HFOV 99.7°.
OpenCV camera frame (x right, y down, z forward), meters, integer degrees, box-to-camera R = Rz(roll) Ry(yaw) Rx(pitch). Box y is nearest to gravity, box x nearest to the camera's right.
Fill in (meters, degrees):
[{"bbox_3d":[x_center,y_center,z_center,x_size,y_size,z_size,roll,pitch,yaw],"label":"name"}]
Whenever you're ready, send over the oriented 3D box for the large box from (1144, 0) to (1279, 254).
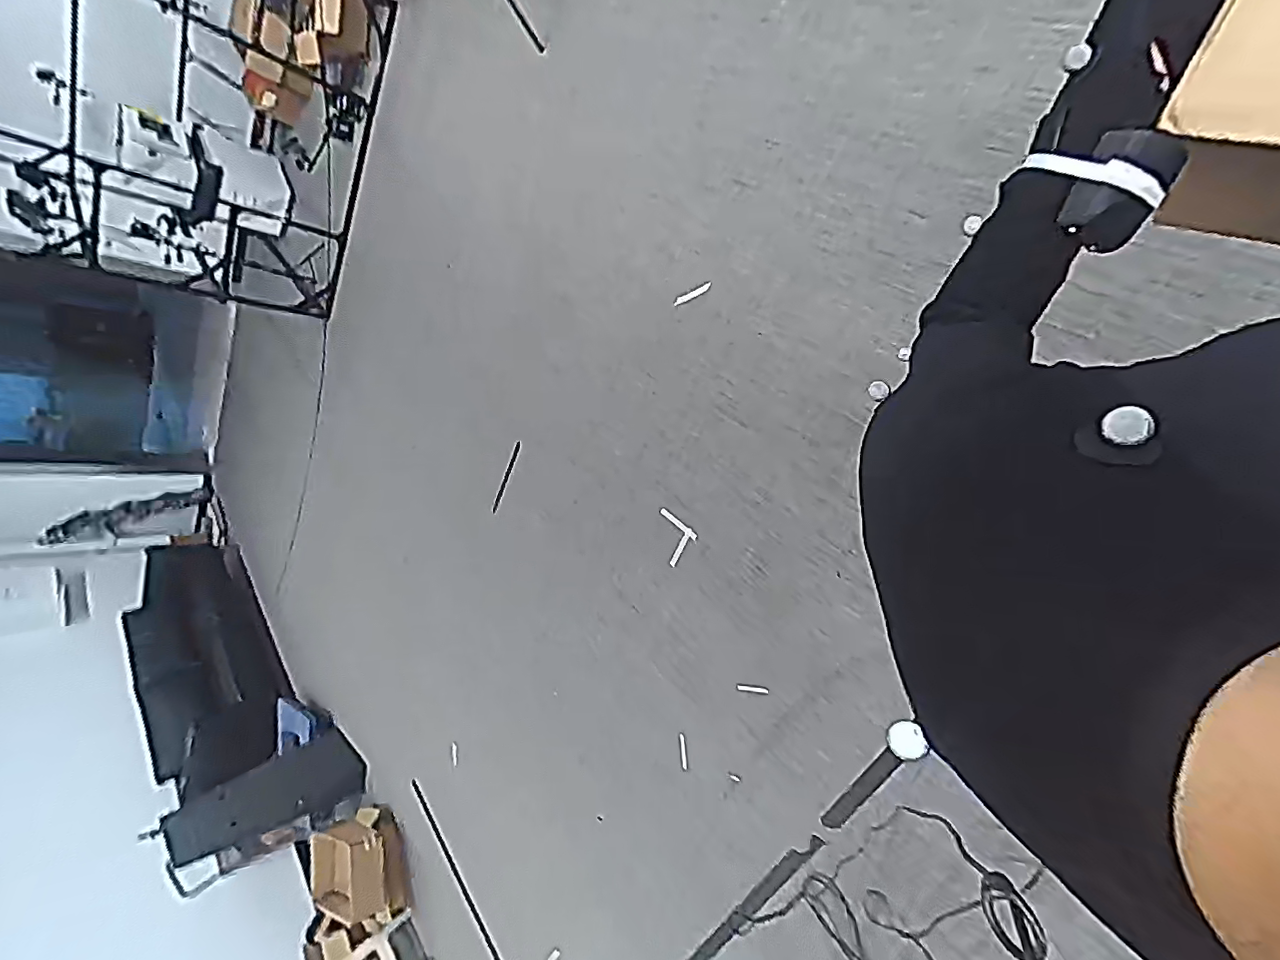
[{"bbox_3d":[0.624,-0.298,0.313,0.408,0.320,0.320,32,119,33],"label":"large box"}]
